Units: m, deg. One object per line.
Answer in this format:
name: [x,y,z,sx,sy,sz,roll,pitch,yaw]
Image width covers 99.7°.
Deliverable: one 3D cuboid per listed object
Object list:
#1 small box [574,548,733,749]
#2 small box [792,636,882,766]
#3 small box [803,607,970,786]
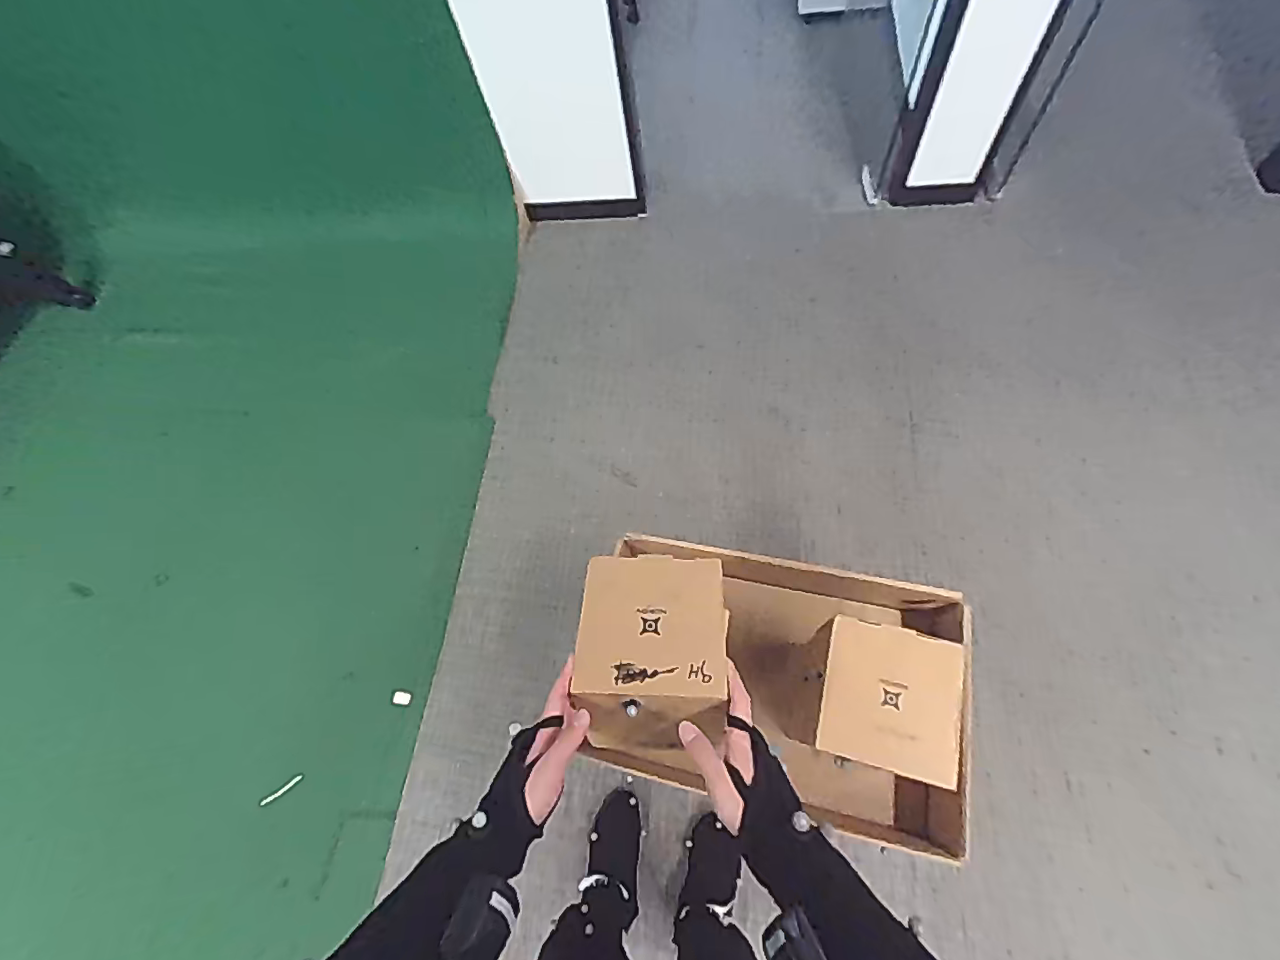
small box: [0.023,0.204,0.661,0.168,0.176,0.179,0,46,5]
small box: [0.359,0.363,0.903,0.168,0.176,0.179,13,69,14]
small box: [0.333,0.298,0.756,0.168,0.176,0.179,13,69,13]
